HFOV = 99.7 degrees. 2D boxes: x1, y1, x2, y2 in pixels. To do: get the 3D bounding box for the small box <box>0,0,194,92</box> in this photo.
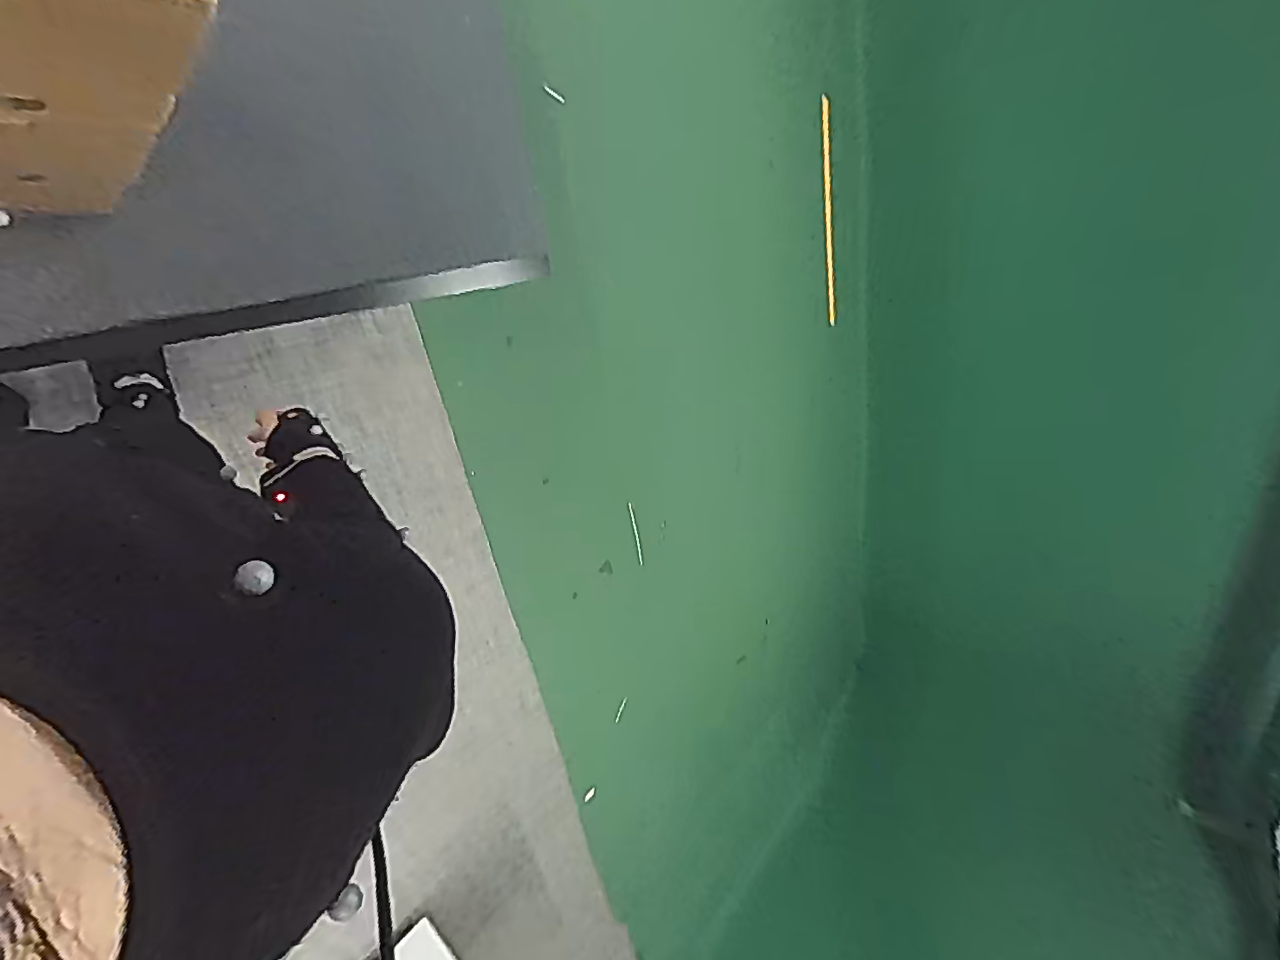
[{"bbox_3d":[-0.290,-0.263,0.177,0.168,0.176,0.179,-31,121,-41],"label":"small box"}]
